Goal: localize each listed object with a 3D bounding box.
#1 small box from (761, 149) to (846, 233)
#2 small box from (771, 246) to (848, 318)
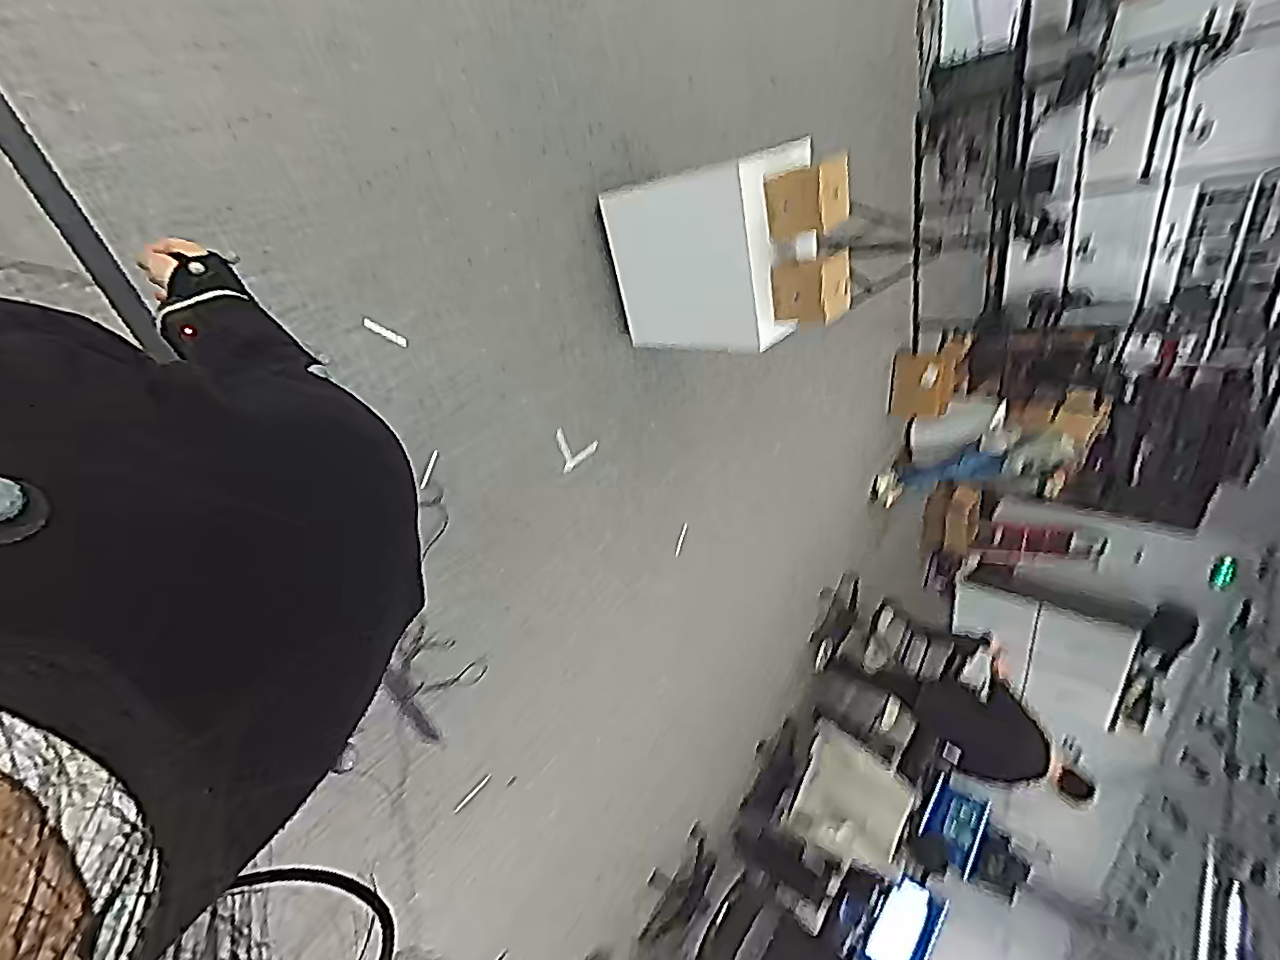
[{"bbox_3d":[0.467,-0.819,1.539,0.179,0.176,0.168,-40,128,-33],"label":"small box"},{"bbox_3d":[0.512,-0.601,1.653,0.179,0.176,0.168,-36,124,-35],"label":"small box"}]
